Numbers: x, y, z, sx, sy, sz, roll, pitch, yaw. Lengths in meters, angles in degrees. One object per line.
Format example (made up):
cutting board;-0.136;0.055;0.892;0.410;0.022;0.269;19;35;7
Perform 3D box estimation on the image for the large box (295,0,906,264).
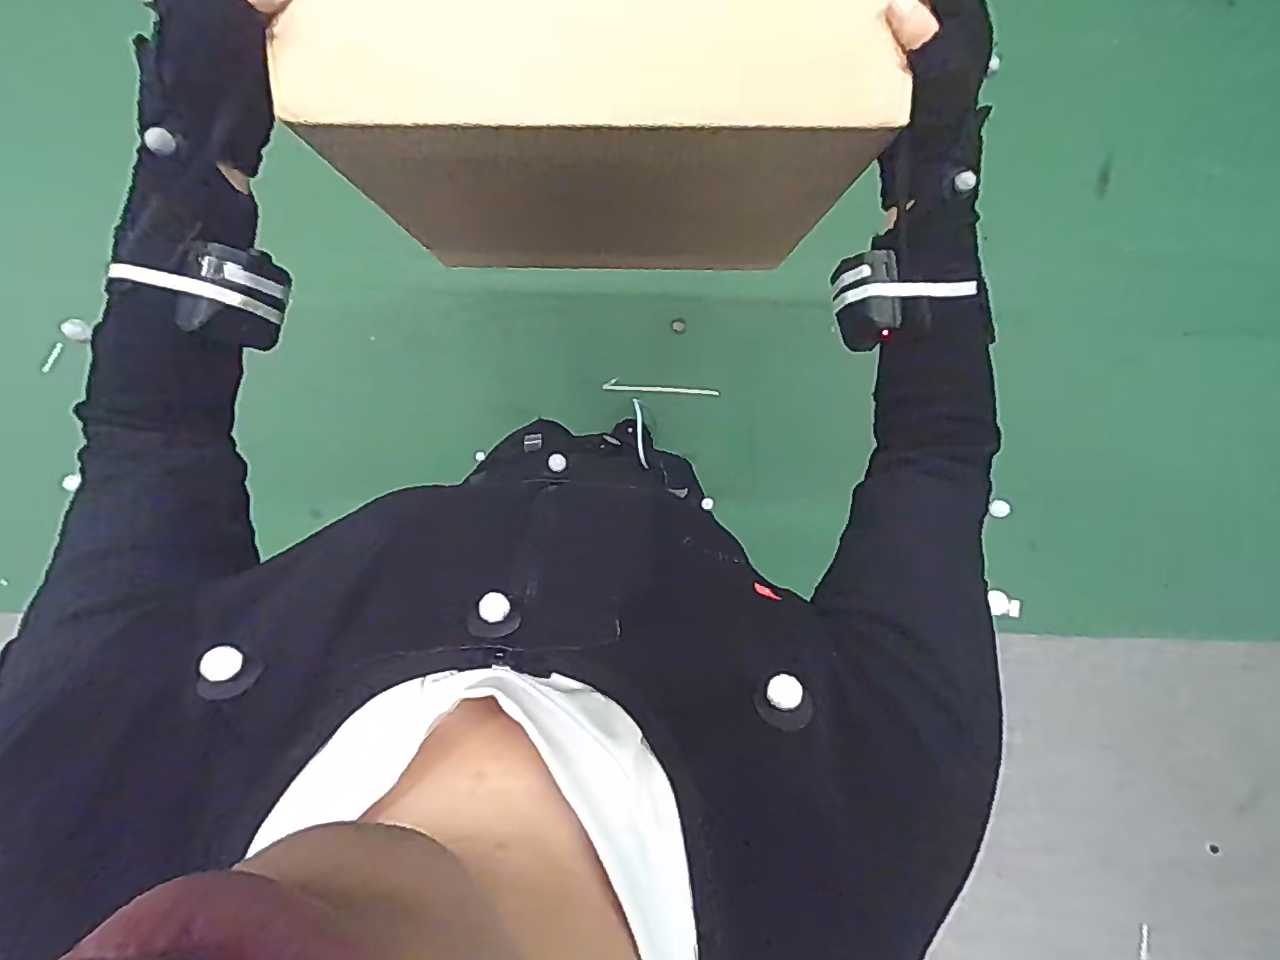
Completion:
large box;-0.030;-0.403;0.492;0.408;0.320;0.320;-1;96;-2
